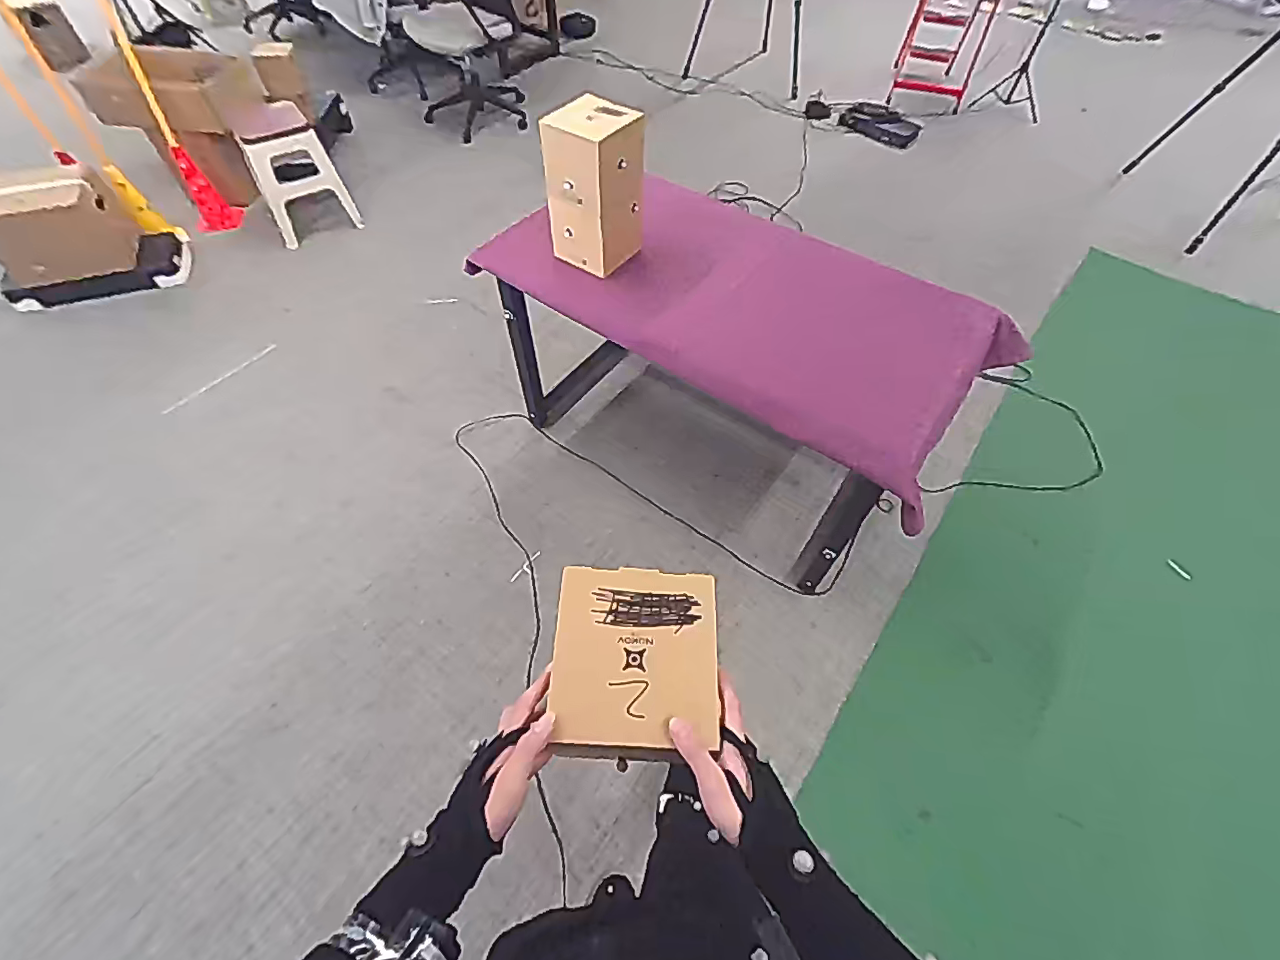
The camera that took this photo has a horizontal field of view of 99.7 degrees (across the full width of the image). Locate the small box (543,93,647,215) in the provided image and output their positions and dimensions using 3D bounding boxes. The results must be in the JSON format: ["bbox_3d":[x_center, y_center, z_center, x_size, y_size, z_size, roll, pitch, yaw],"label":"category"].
[{"bbox_3d":[-0.100,-0.753,1.252,0.168,0.176,0.179,31,61,19],"label":"small box"}]

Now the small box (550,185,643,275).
[{"bbox_3d":[-0.105,-0.660,1.387,0.168,0.176,0.179,31,60,18],"label":"small box"}]
